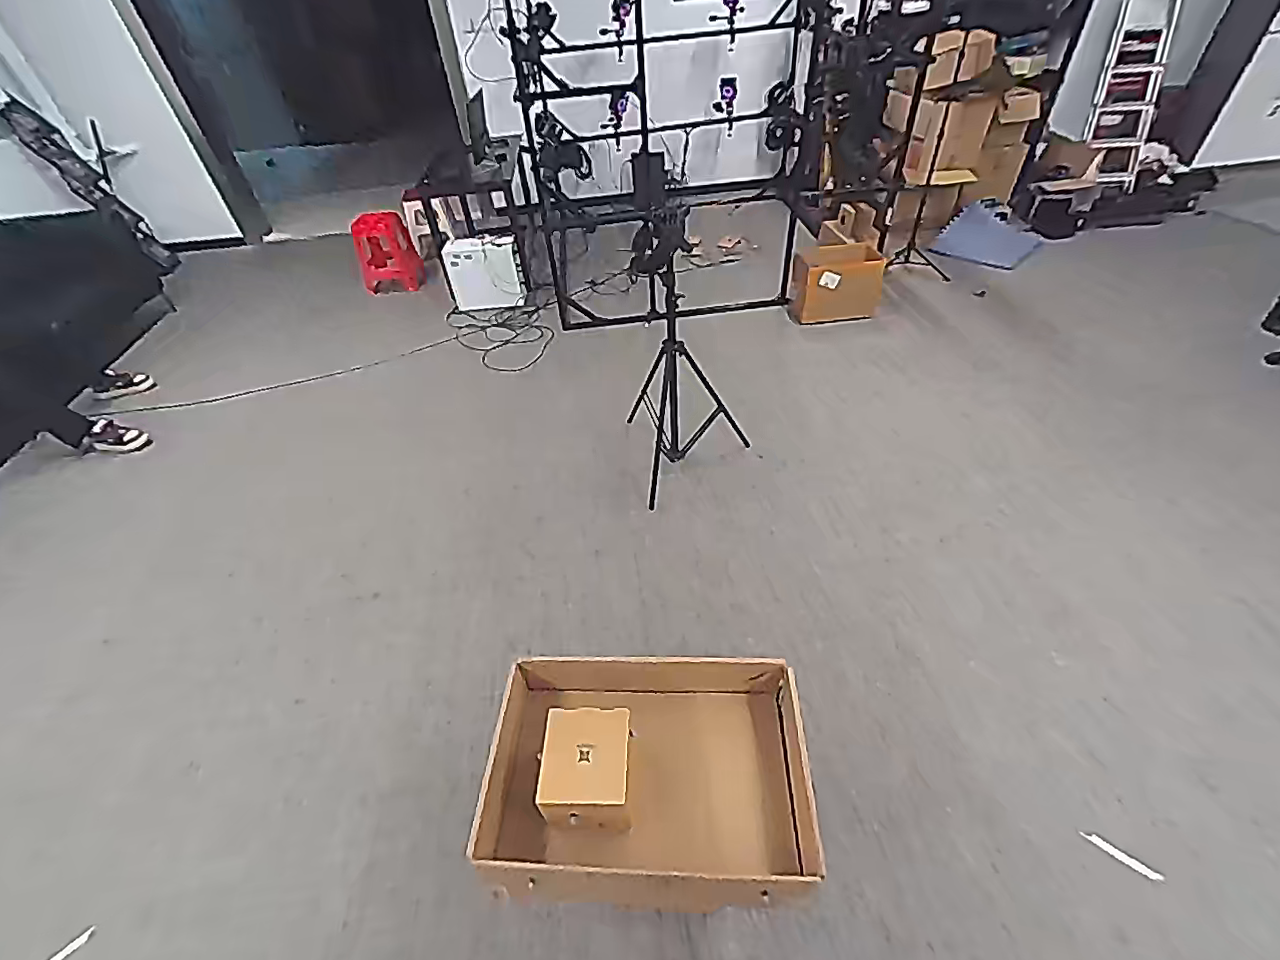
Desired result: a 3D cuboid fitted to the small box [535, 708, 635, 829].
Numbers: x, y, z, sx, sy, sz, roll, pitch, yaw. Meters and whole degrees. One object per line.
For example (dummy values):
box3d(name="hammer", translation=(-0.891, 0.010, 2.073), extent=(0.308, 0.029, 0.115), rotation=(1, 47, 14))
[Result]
box3d(name="small box", translation=(-0.100, 0.575, 1.075), extent=(0.168, 0.176, 0.179), rotation=(-2, 42, 4))
